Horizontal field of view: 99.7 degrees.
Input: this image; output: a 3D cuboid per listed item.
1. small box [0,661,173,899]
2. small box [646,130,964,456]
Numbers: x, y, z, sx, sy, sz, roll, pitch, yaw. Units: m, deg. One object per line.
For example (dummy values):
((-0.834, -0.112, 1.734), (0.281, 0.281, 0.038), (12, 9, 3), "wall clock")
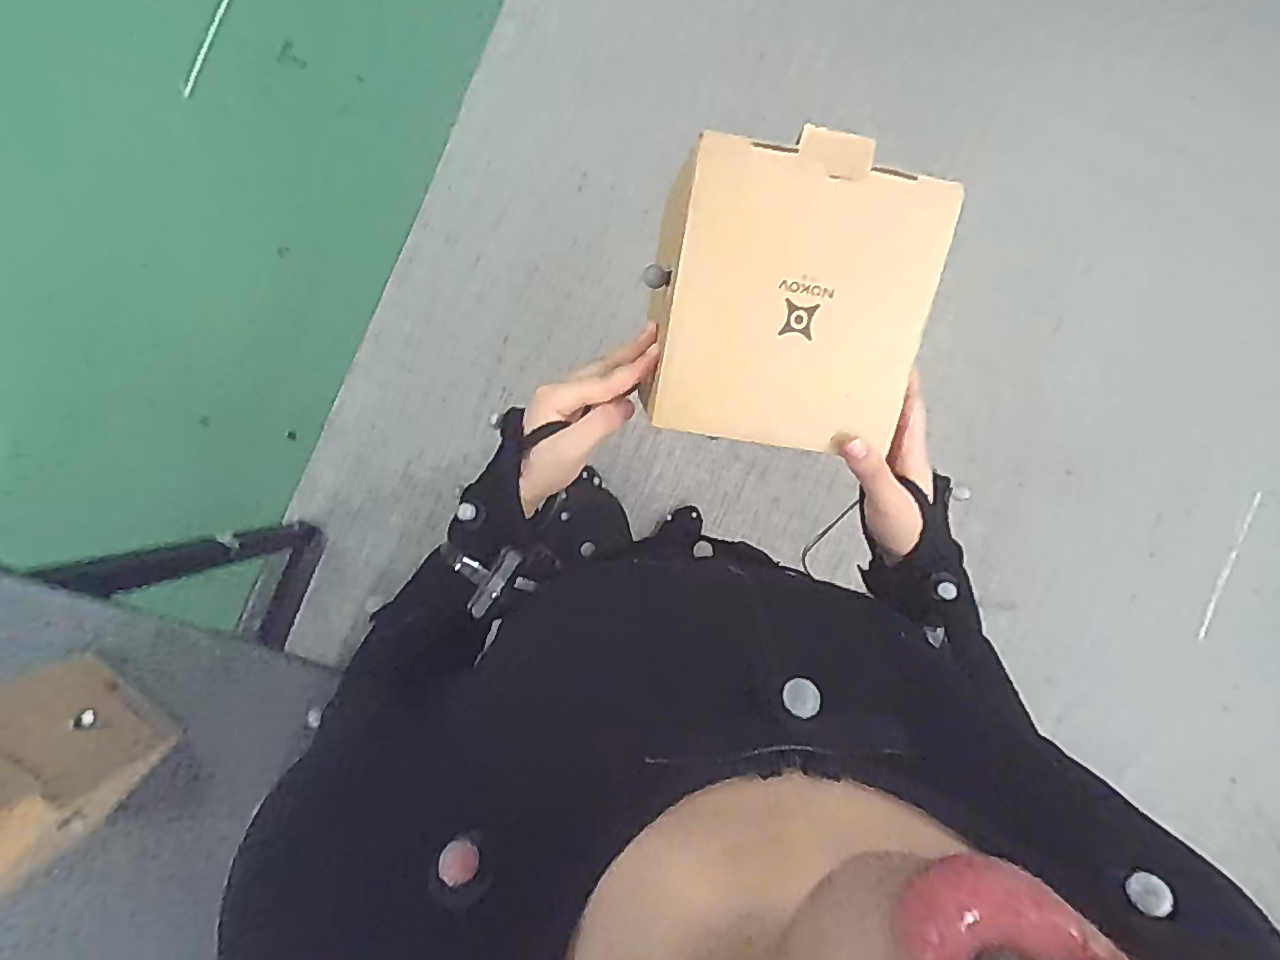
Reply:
((-0.716, 0.350, 0.638), (0.168, 0.176, 0.179), (44, 91, -2), "small box")
((0.099, -0.130, 0.416), (0.168, 0.176, 0.179), (7, 105, -6), "small box")
